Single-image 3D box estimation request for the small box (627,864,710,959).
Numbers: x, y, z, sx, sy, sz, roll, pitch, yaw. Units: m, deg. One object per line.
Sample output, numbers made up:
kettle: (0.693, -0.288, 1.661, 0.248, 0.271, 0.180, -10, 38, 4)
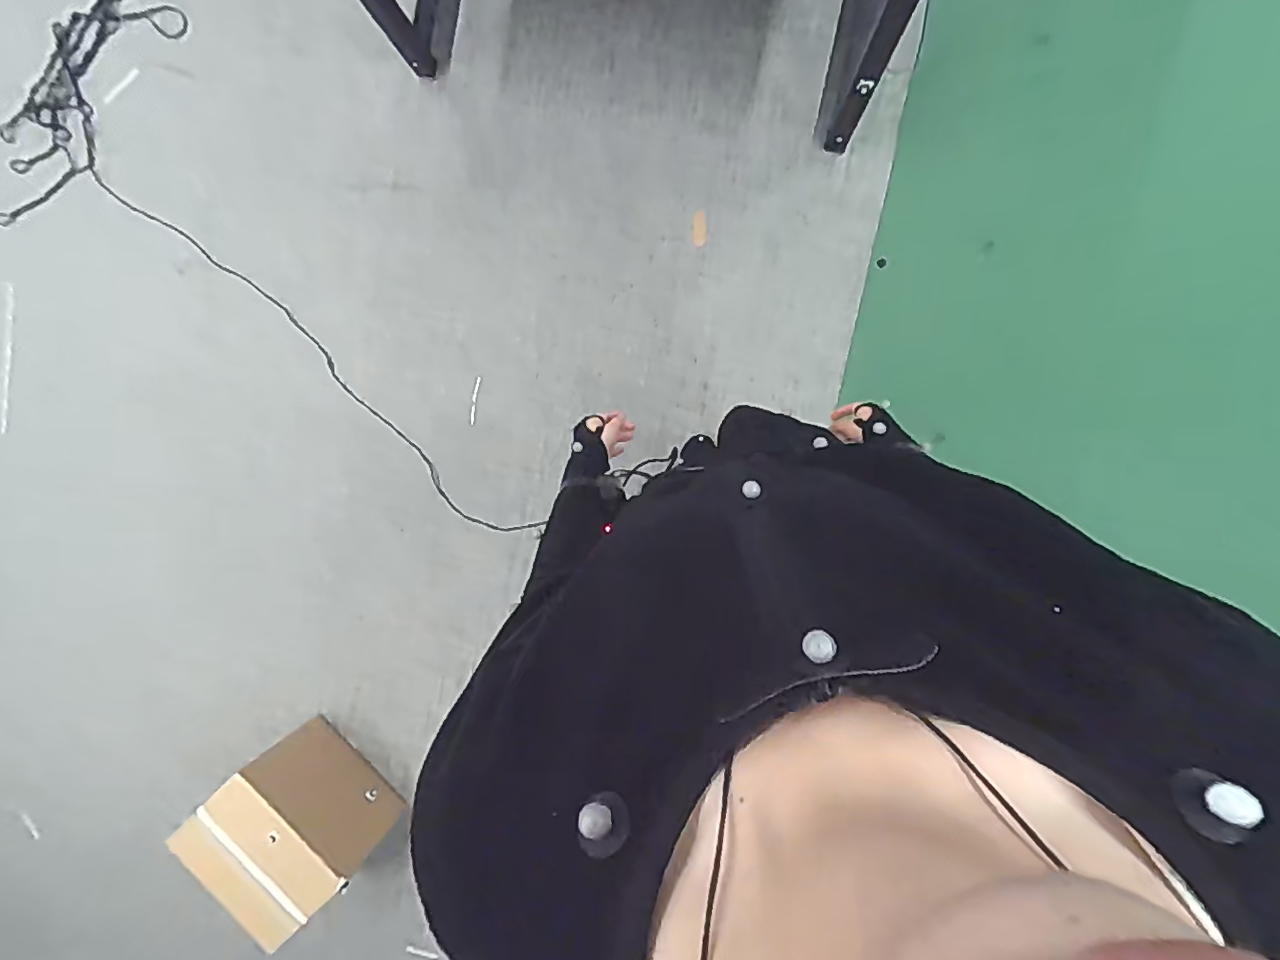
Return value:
small box: (0.062, 0.981, 1.176, 0.168, 0.176, 0.179, 3, 94, 6)
